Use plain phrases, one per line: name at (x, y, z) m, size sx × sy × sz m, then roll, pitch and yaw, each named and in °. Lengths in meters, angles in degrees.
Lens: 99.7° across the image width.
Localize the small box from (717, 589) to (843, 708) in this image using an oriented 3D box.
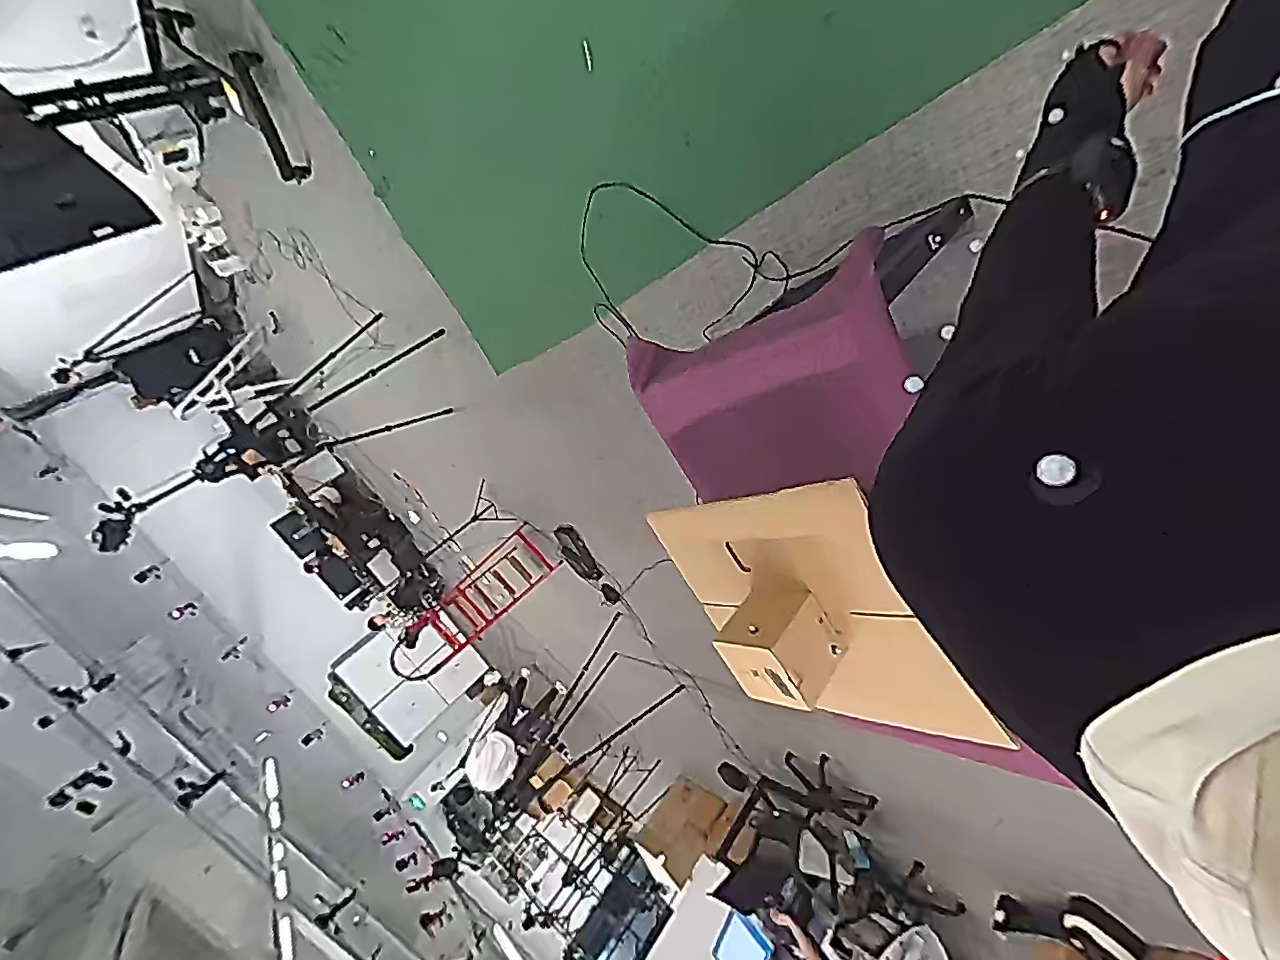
small box at (0.304, 0.347, 1.149) m, size 0.179 × 0.176 × 0.168 m, roll -15°, pitch 112°, yaw 56°
